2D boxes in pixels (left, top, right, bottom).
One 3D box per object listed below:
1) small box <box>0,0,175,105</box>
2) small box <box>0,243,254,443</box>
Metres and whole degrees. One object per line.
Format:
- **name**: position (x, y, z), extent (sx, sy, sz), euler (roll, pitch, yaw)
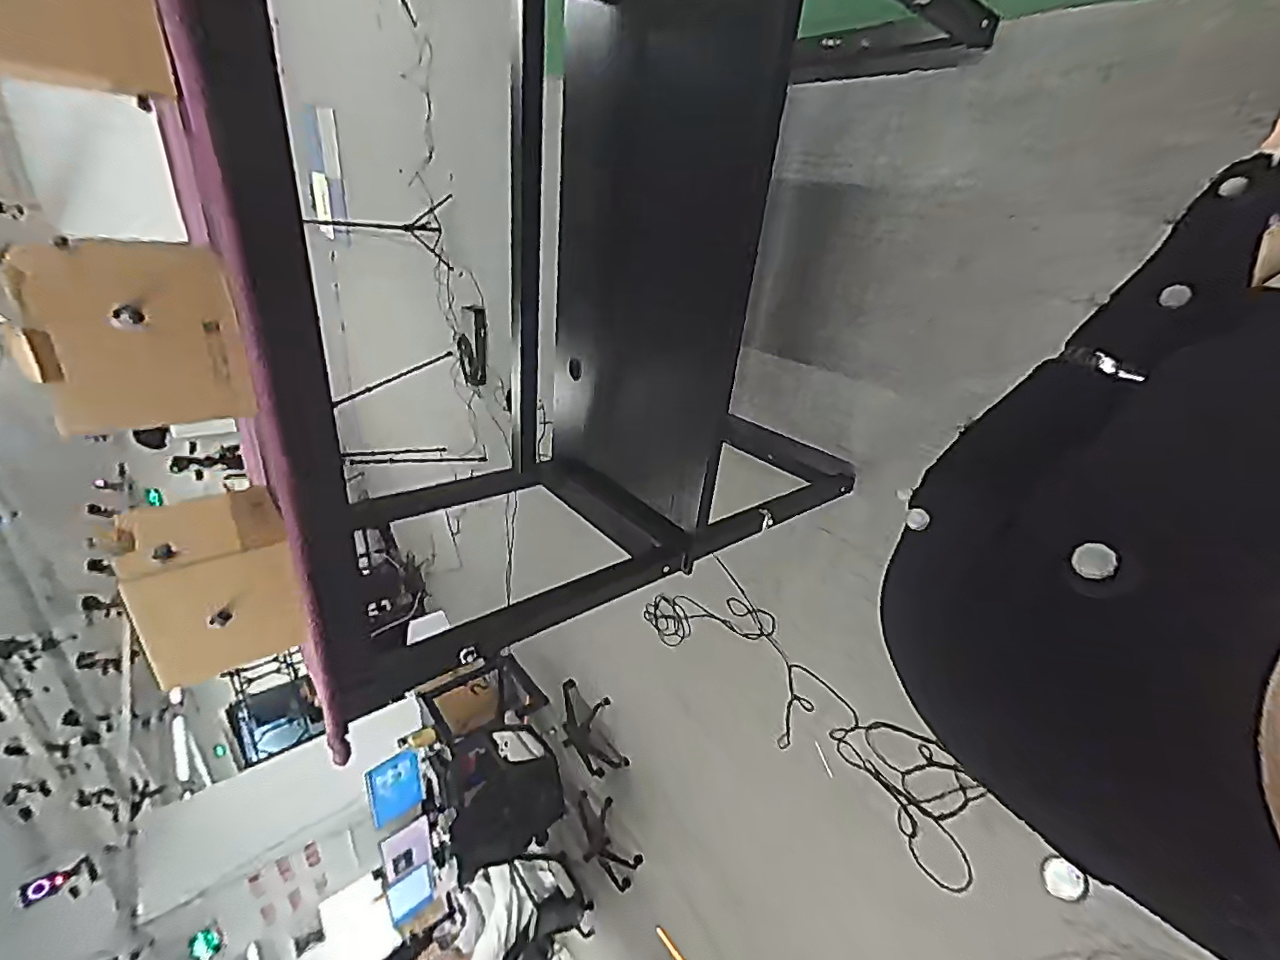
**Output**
- **small box**: position (-0.529, -0.442, 0.466), extent (0.168, 0.176, 0.179), euler (33, 127, 44)
- **small box**: position (-0.549, -0.160, 0.600), extent (0.179, 0.176, 0.168), euler (34, 127, 41)
